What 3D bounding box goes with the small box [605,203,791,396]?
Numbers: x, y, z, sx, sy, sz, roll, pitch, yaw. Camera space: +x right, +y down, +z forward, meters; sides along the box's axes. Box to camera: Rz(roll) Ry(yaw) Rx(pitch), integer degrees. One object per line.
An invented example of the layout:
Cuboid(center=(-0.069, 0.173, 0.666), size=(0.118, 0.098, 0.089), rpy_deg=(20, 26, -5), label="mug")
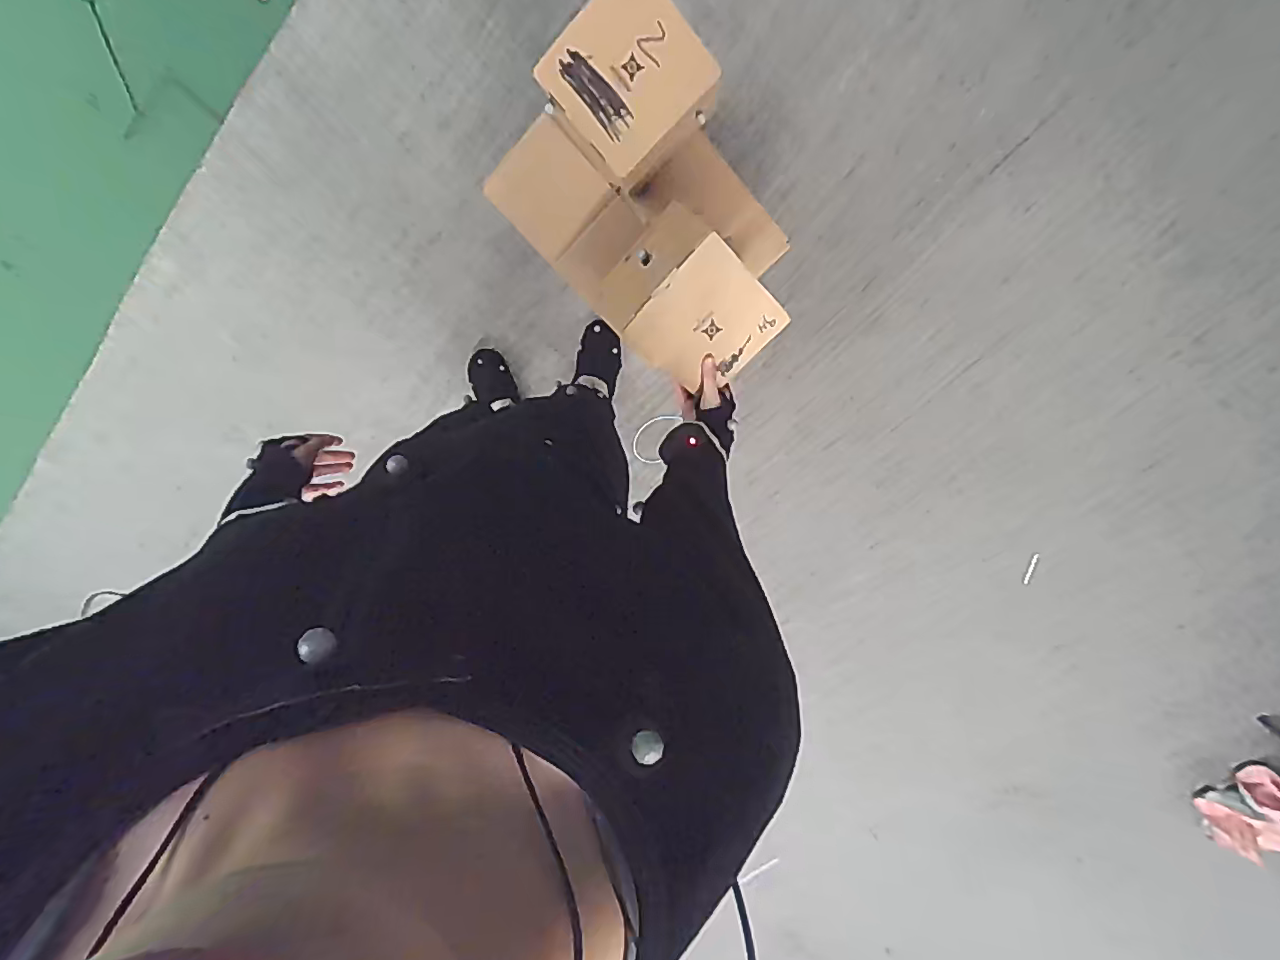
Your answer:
Cuboid(center=(0.071, -0.258, 0.757), size=(0.179, 0.176, 0.168), rpy_deg=(33, 115, -34), label="small box")
